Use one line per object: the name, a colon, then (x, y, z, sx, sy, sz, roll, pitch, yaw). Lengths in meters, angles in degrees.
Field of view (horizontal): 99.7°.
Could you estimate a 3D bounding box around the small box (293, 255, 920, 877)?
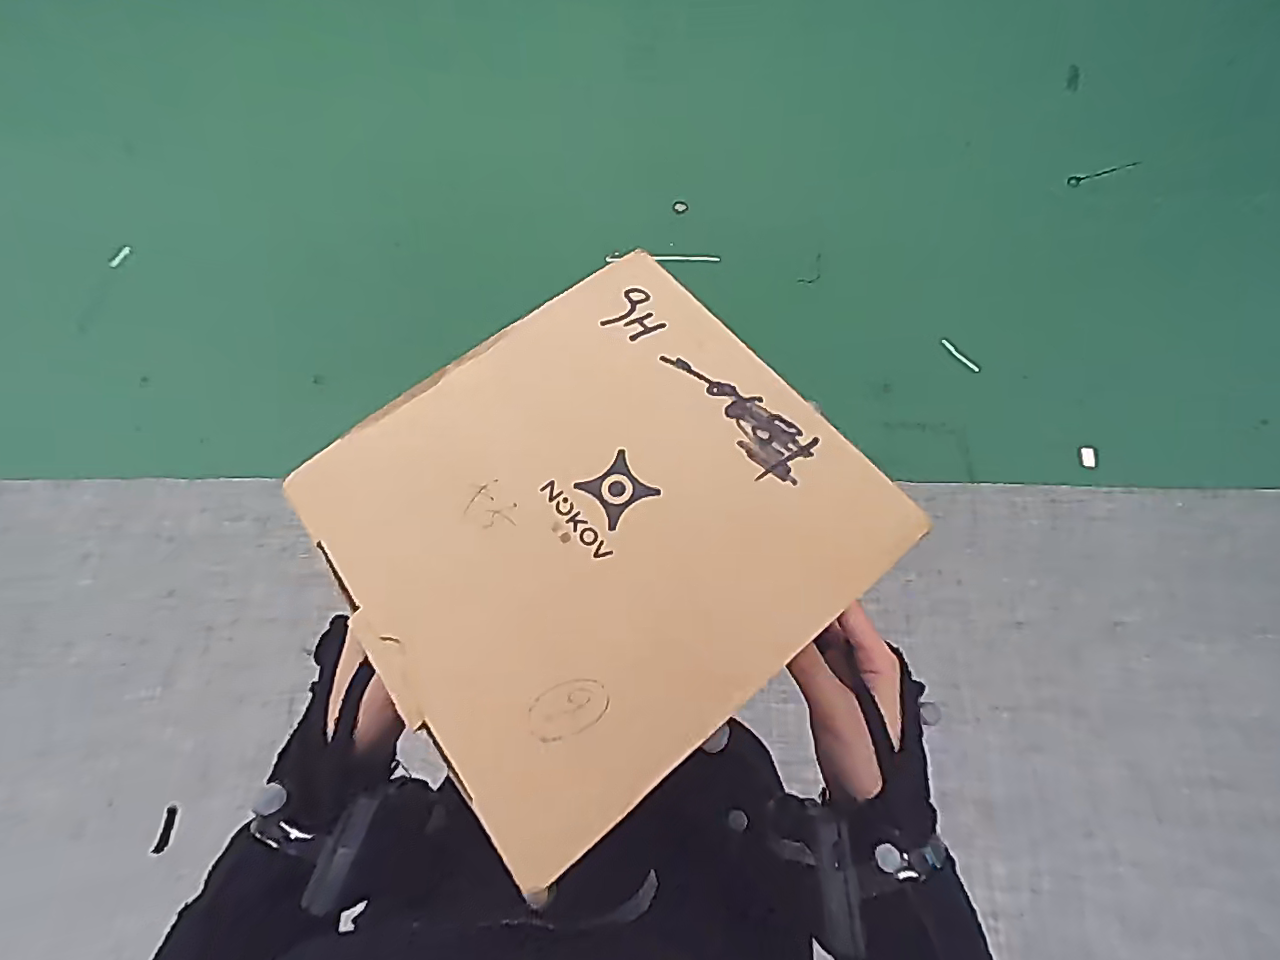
small box: (-0.013, 0.038, 0.270, 0.179, 0.176, 0.168, -37, 72, -12)
